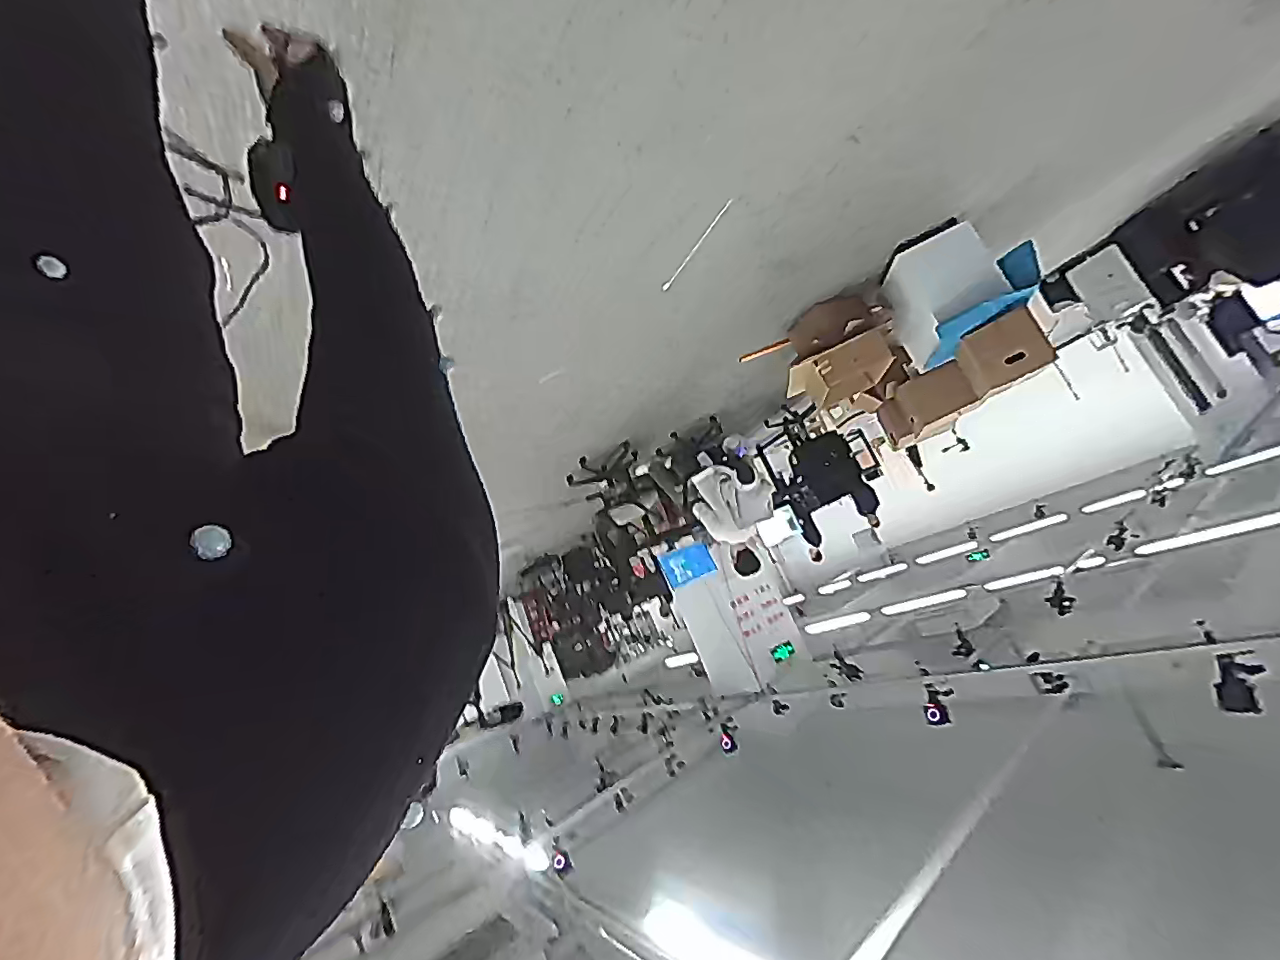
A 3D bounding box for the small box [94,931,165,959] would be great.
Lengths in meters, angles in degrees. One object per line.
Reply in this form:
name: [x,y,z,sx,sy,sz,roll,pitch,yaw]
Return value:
small box: [-1.467,1.423,1.525,0.179,0.176,0.168,-15,166,-37]
